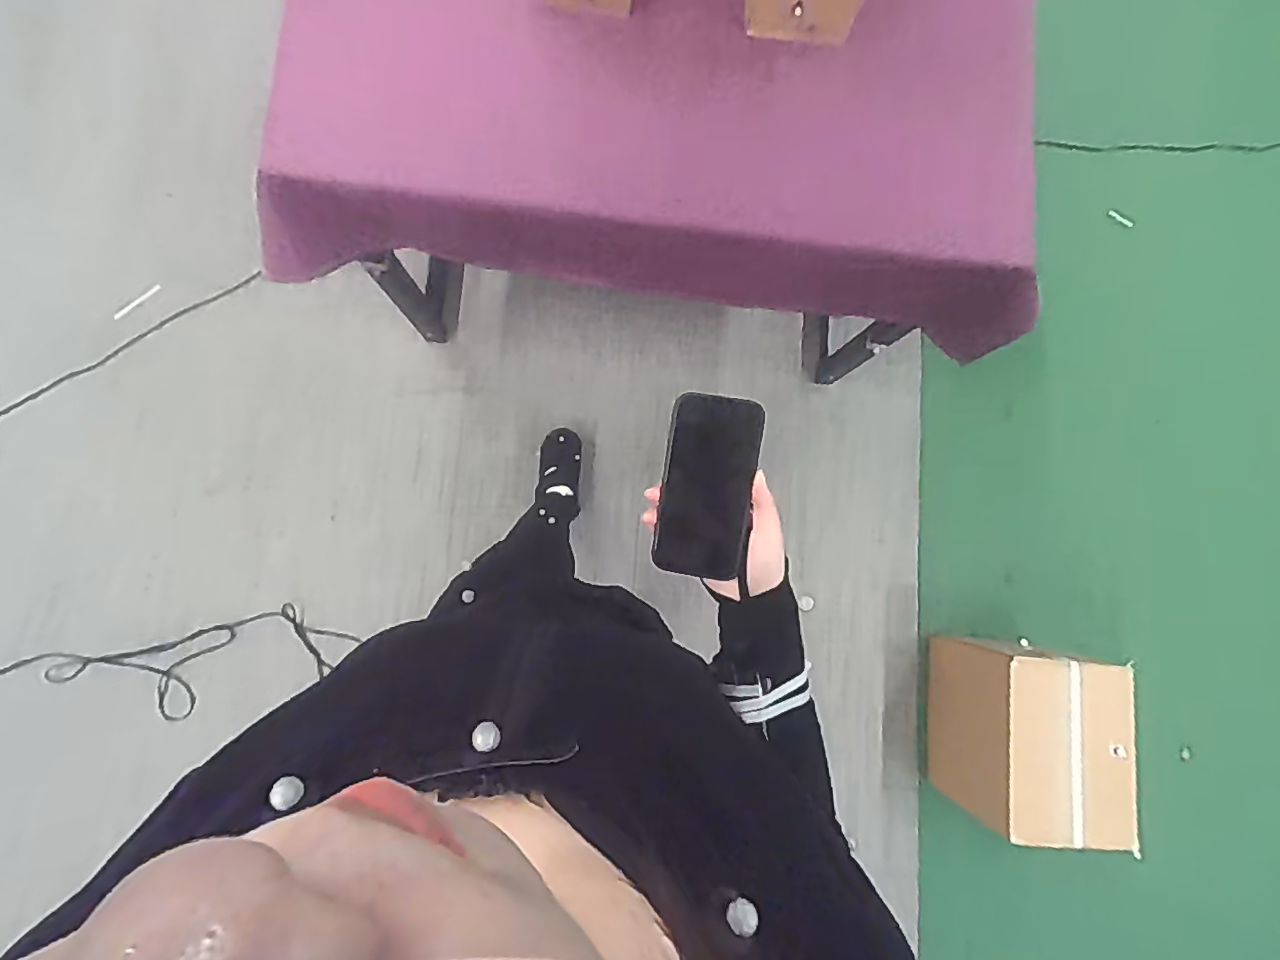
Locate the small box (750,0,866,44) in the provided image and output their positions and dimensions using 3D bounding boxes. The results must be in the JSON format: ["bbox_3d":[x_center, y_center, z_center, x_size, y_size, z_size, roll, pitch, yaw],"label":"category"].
[{"bbox_3d":[0.269,-0.818,0.815,0.168,0.176,0.179,3,85,-5],"label":"small box"}]
